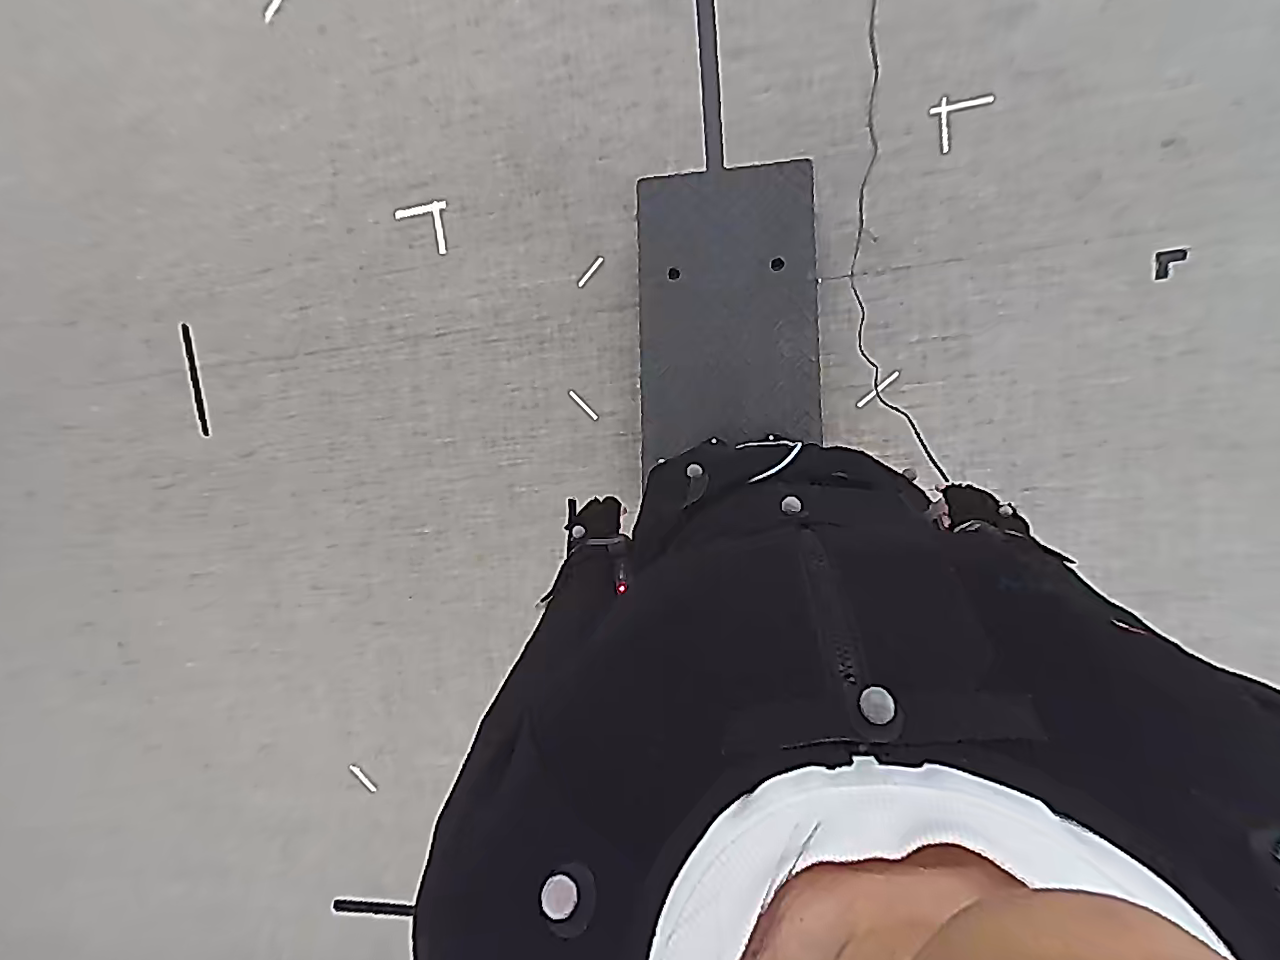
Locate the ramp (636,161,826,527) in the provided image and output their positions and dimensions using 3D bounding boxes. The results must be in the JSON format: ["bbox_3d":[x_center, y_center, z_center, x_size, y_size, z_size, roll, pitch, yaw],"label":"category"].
[{"bbox_3d":[0.236,-0.372,1.495,0.509,0.206,0.991,-3,96,11],"label":"ramp"}]
